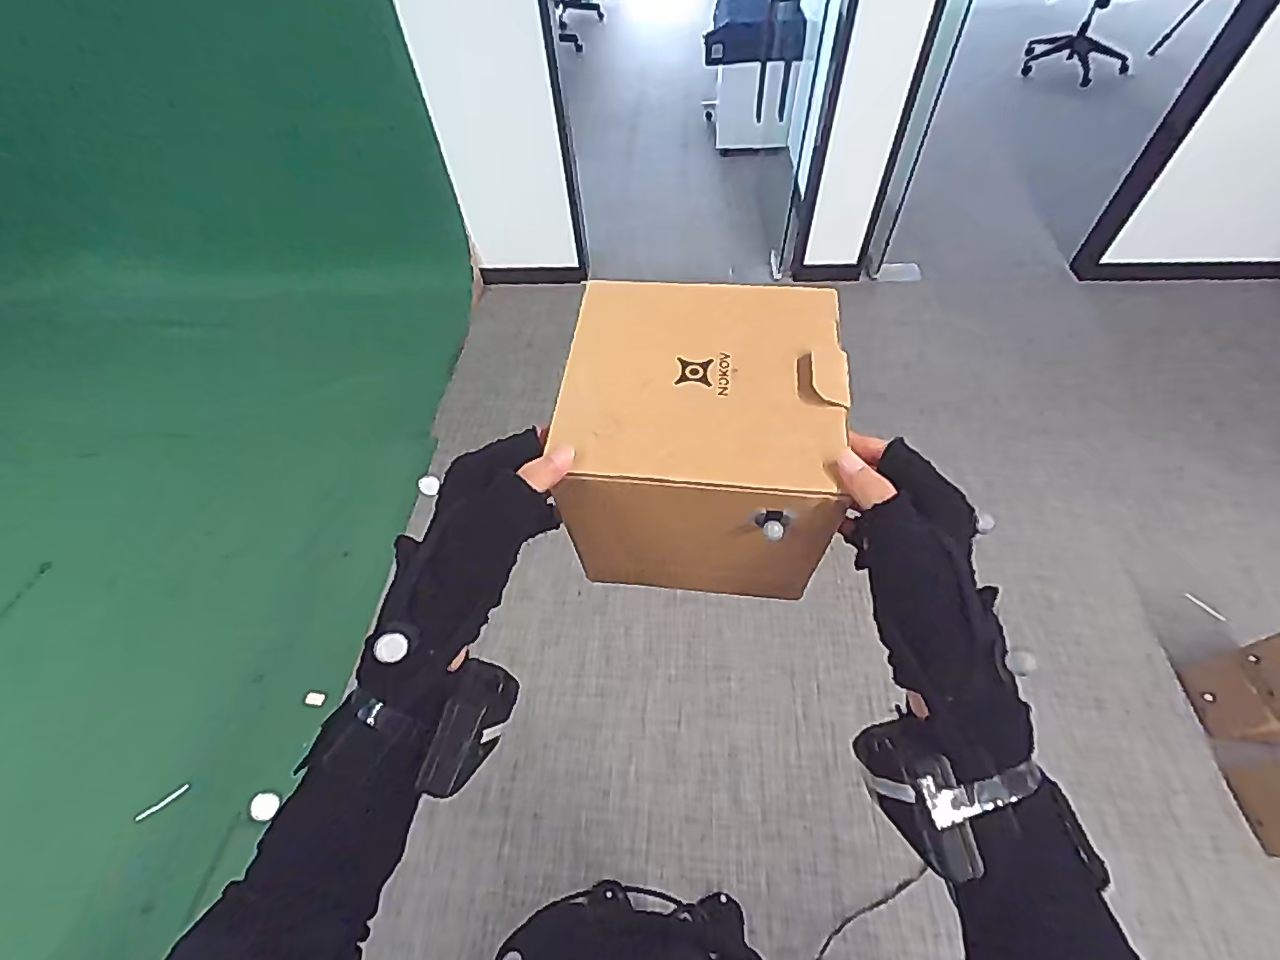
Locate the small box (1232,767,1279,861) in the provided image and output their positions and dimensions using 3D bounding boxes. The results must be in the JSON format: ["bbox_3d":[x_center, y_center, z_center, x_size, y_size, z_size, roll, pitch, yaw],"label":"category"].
[{"bbox_3d":[1.410,0.686,1.106,0.179,0.176,0.168,0,53,3],"label":"small box"}]

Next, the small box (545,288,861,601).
[{"bbox_3d":[0.046,-0.019,0.402,0.179,0.176,0.168,4,58,6],"label":"small box"}]

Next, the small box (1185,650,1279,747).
[{"bbox_3d":[1.436,0.504,1.239,0.179,0.176,0.168,2,53,5],"label":"small box"}]

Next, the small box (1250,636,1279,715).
[{"bbox_3d":[1.434,0.407,1.106,0.179,0.176,0.168,2,54,4],"label":"small box"}]
